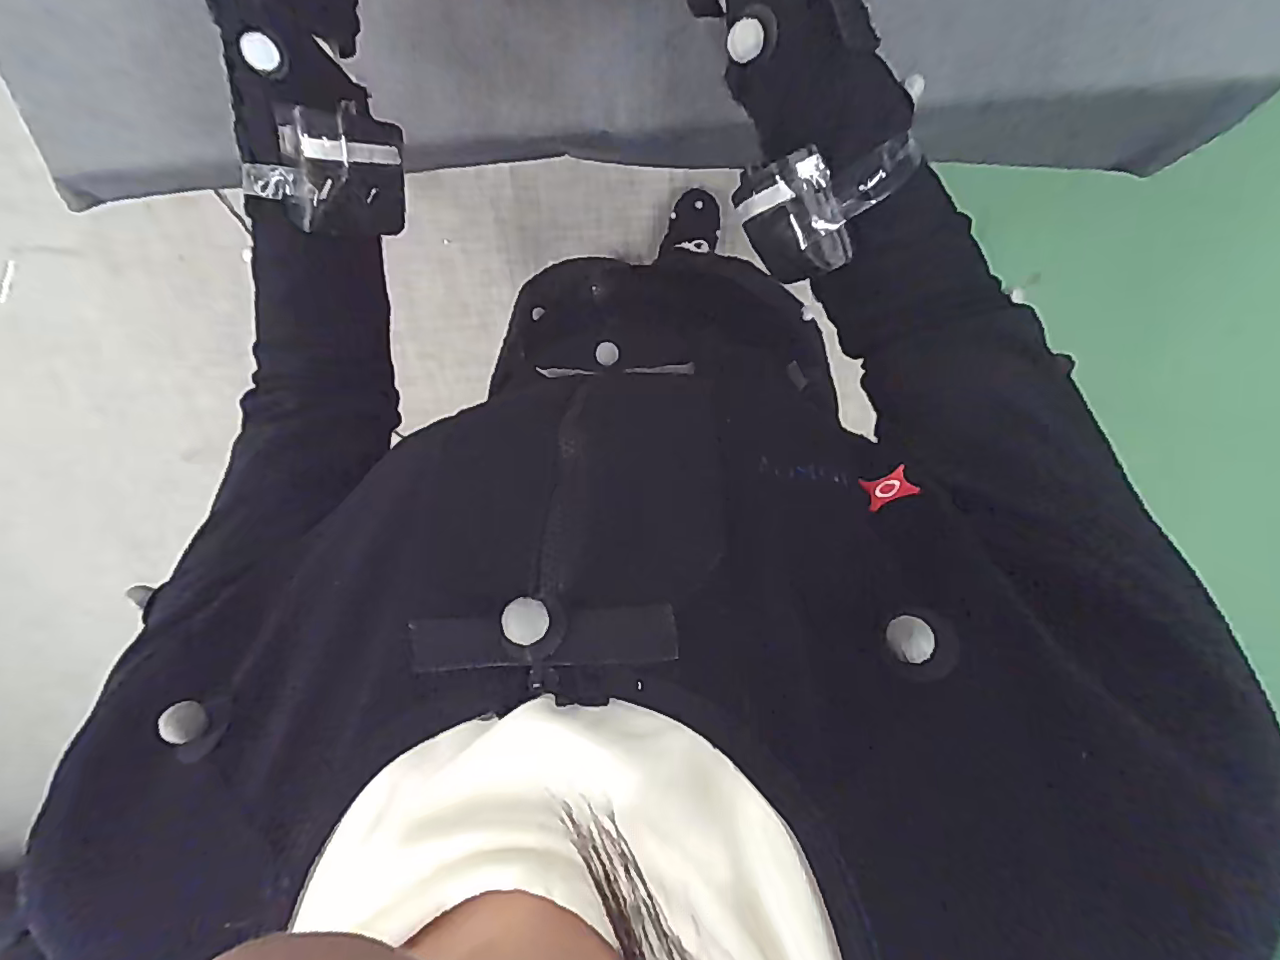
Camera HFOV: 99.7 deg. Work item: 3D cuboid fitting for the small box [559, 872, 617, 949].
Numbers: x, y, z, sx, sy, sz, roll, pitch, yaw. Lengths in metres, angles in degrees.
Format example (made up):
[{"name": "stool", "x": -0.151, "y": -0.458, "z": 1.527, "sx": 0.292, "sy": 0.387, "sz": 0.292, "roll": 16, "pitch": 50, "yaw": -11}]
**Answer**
[{"name": "small box", "x": -0.180, "y": 1.547, "z": 1.948, "sx": 0.179, "sy": 0.176, "sz": 0.168, "roll": -3, "pitch": 116, "yaw": 6}]
